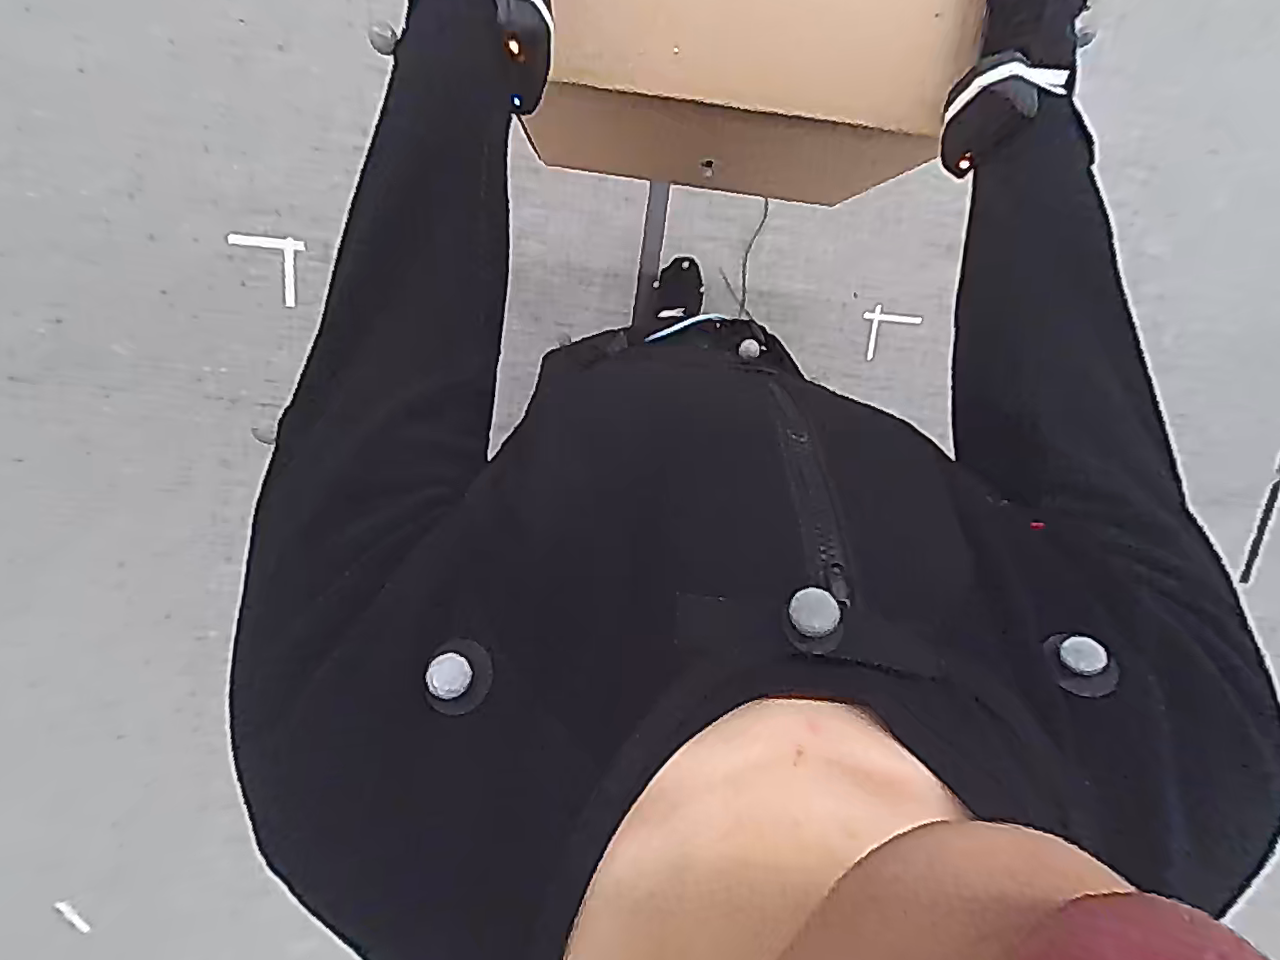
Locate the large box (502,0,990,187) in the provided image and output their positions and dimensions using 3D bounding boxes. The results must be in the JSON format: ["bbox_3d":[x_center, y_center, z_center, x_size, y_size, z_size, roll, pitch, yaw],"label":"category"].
[{"bbox_3d":[0.094,-0.516,0.553,0.408,0.320,0.320,5,107,-4],"label":"large box"}]
